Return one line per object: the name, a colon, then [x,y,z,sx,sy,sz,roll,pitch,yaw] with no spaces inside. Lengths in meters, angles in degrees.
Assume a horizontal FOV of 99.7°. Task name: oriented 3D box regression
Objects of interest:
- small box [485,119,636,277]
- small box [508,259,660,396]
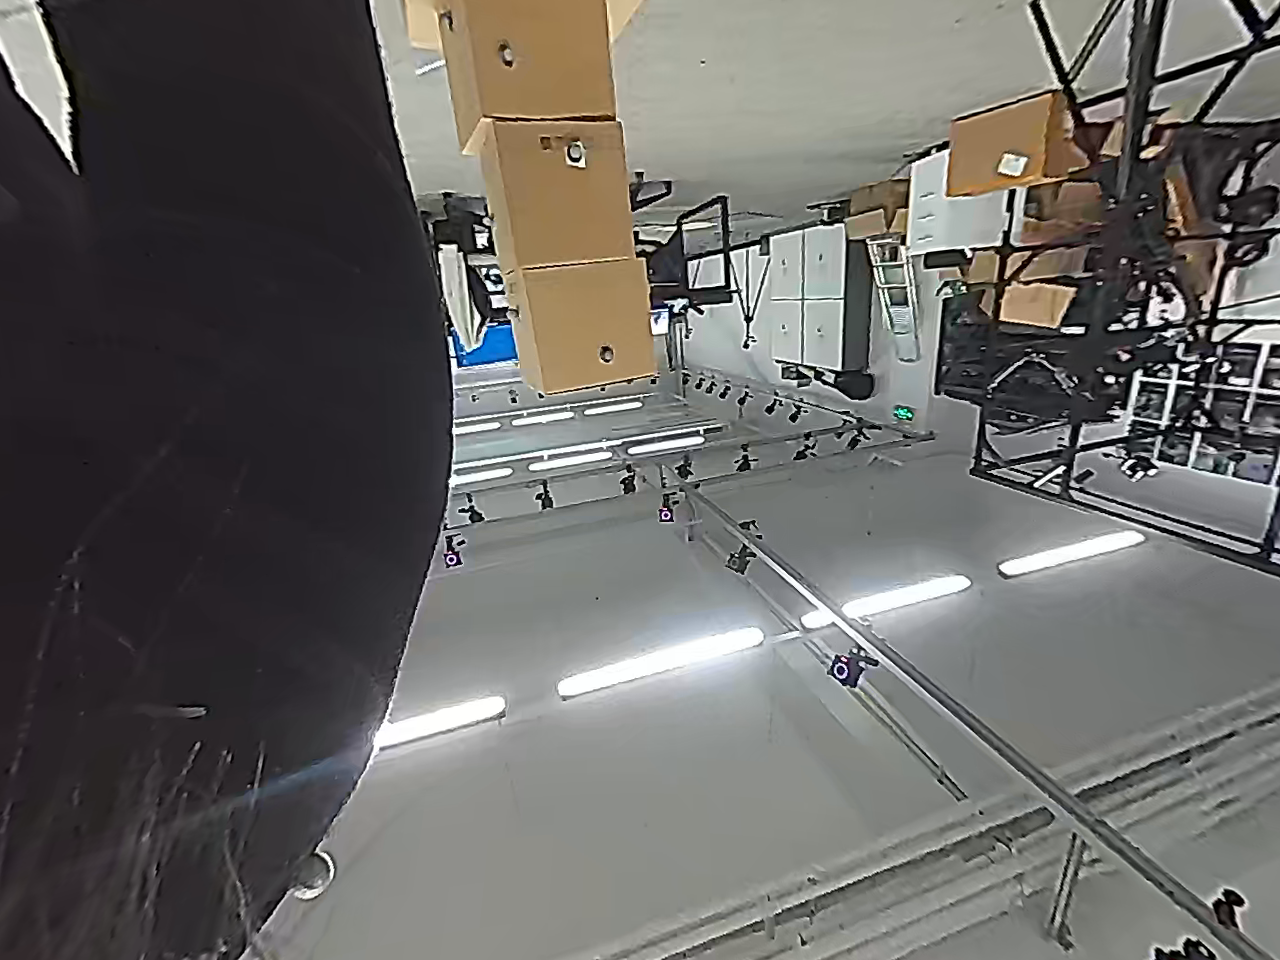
small box: [-0.117,-0.388,0.765,0.168,0.176,0.179,-13,-160,-17]
small box: [-0.087,-0.236,0.821,0.179,0.176,0.168,-14,-160,-19]
